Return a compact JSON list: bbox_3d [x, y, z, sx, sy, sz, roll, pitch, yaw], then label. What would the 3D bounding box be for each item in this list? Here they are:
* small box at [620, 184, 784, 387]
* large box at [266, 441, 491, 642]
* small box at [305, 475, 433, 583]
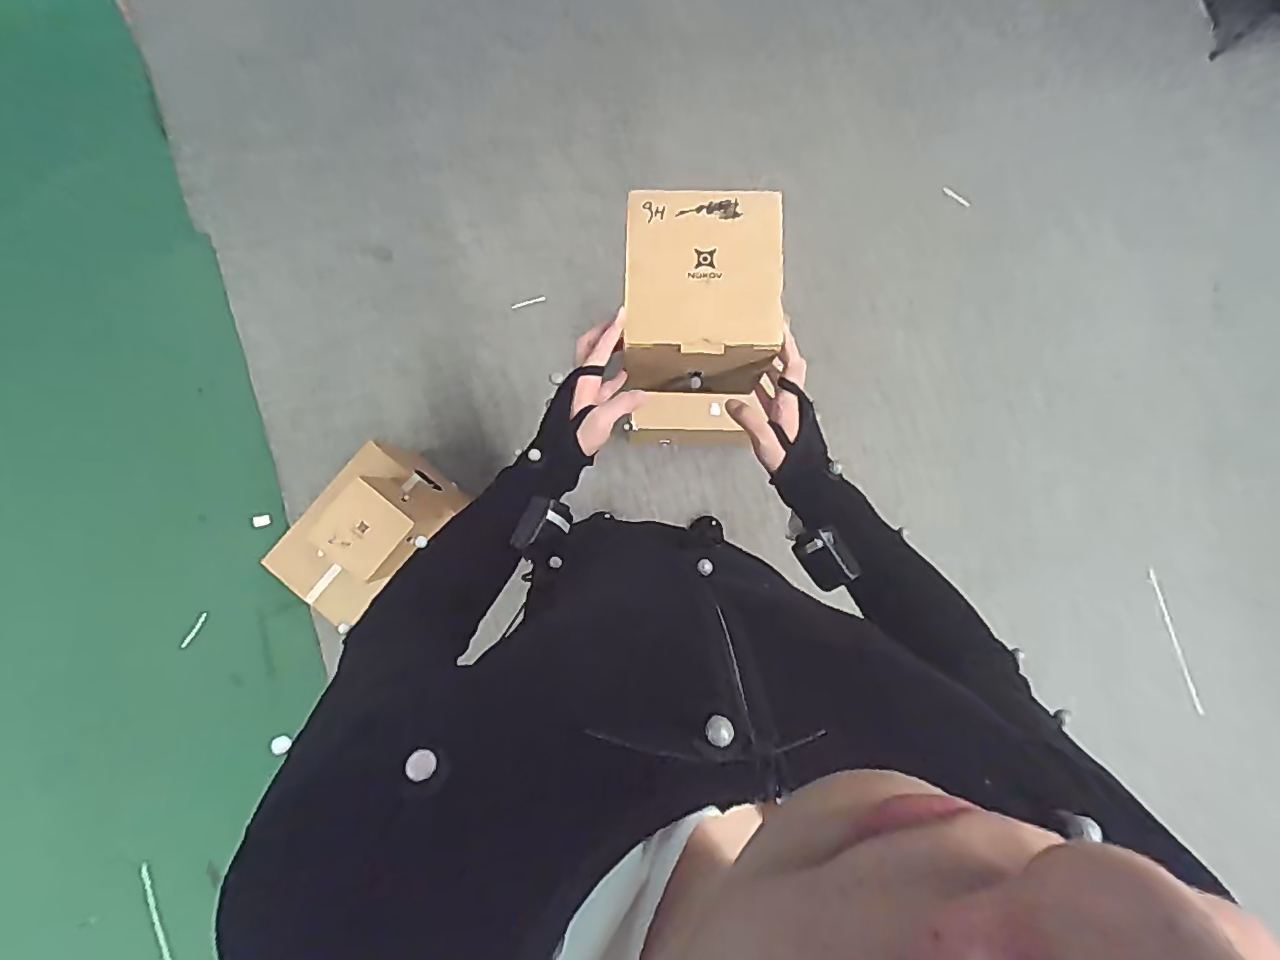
[{"bbox_3d":[0.067,-0.215,0.637,0.168,0.176,0.179,2,84,1],"label":"small box"},{"bbox_3d":[-0.680,0.152,1.477,0.320,0.320,0.408,40,88,2],"label":"large box"},{"bbox_3d":[-0.601,0.106,1.234,0.168,0.176,0.179,40,87,0],"label":"small box"}]
